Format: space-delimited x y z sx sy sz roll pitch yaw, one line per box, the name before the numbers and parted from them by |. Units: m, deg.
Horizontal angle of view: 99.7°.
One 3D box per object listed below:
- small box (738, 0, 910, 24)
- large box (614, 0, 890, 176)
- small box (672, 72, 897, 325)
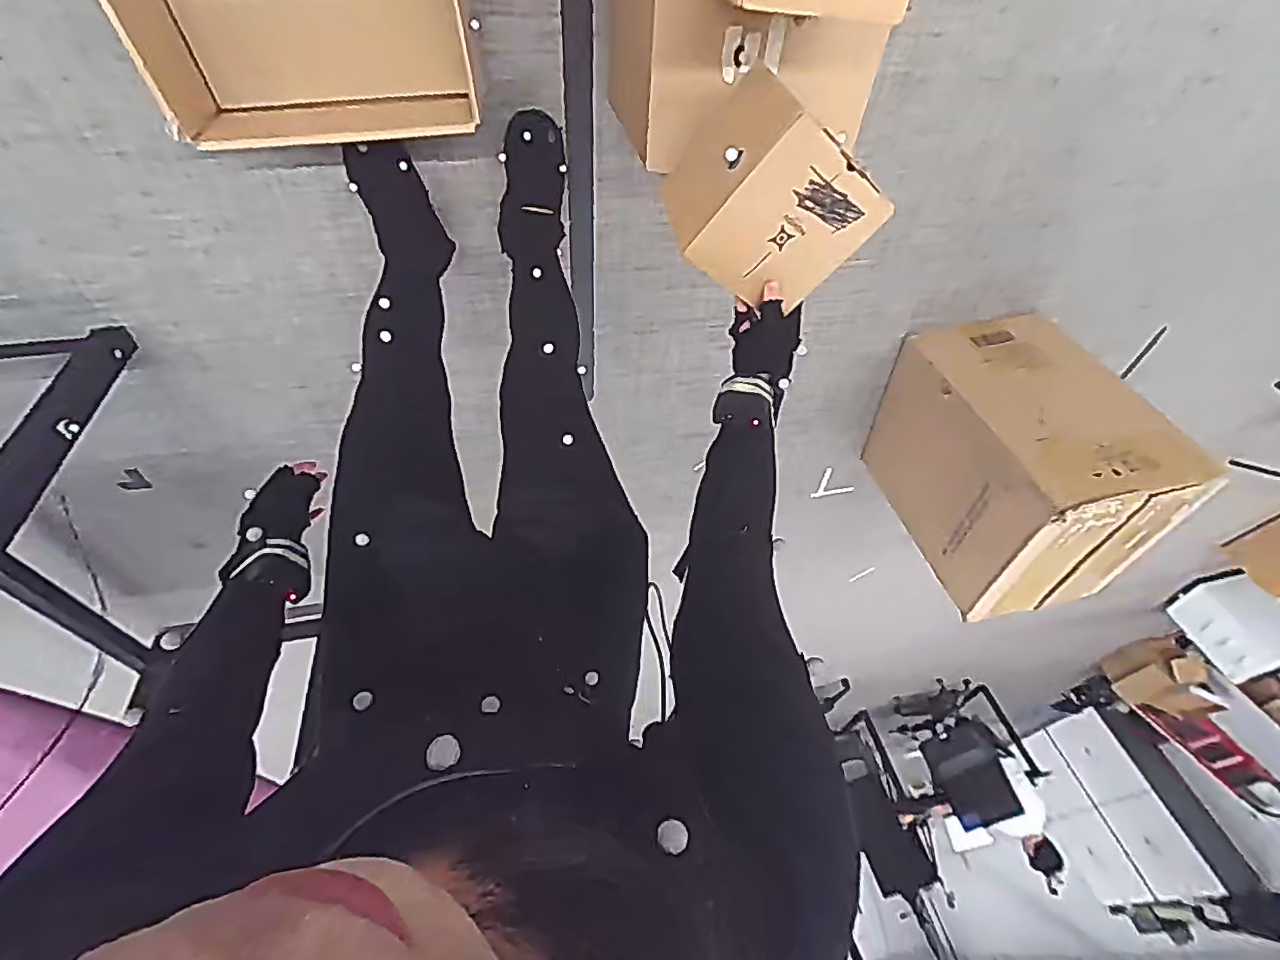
small box | 0.168 -0.559 0.508 0.179 0.176 0.168 -5 141 -12
large box | 0.139 -0.690 0.728 0.320 0.320 0.408 -6 140 -9
small box | 0.156 -0.329 0.640 0.168 0.176 0.179 24 130 -33
